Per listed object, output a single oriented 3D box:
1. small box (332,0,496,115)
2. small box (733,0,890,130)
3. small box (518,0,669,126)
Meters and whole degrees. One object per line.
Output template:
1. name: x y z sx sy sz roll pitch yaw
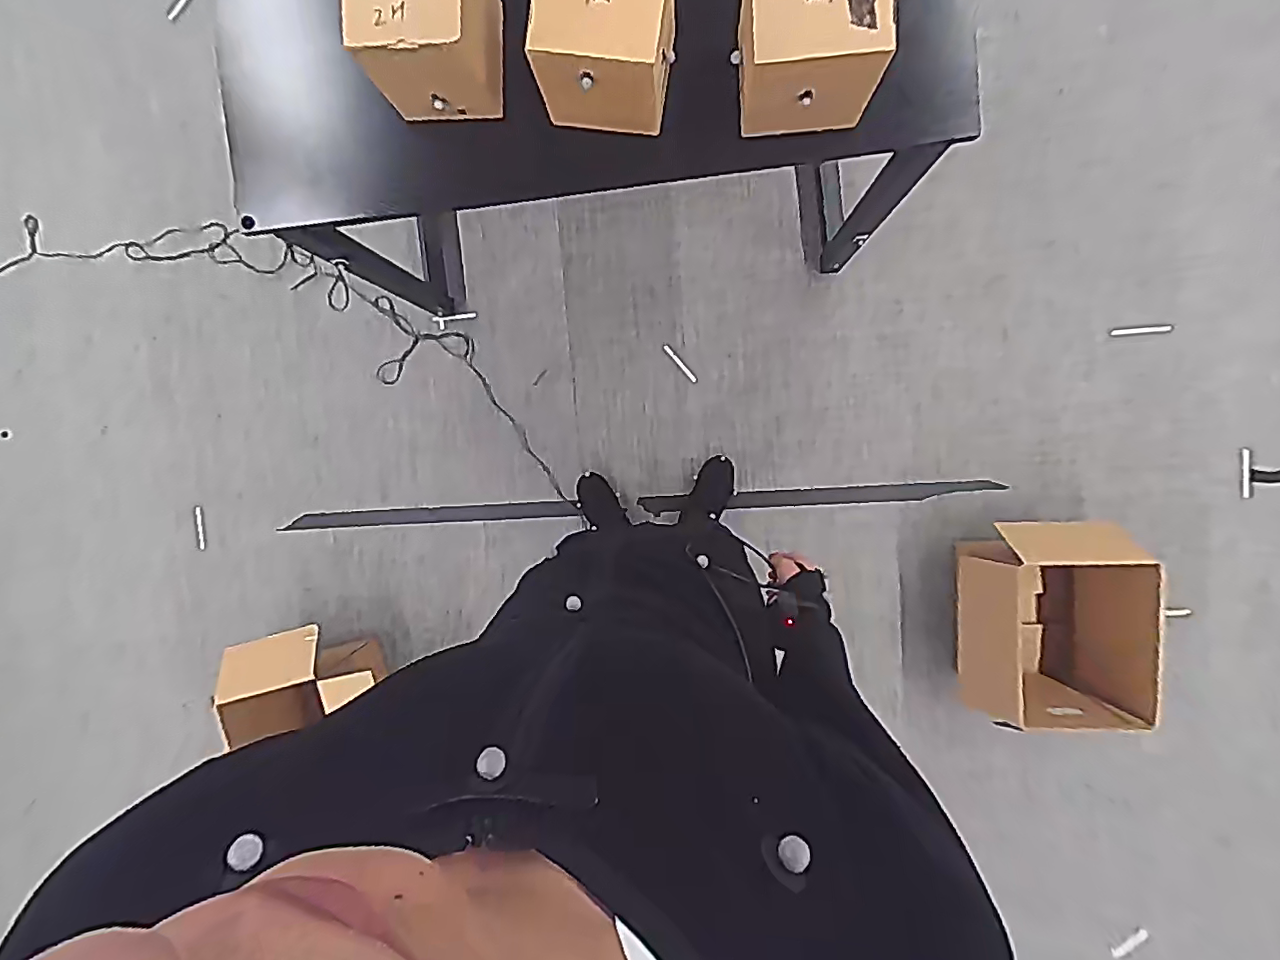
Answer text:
1. small box: -0.315 -0.668 0.782 0.168 0.176 0.179 1 95 5
2. small box: 0.225 -0.618 0.744 0.179 0.176 0.168 -2 94 6
3. small box: -0.055 -0.636 0.766 0.179 0.176 0.168 9 94 4
